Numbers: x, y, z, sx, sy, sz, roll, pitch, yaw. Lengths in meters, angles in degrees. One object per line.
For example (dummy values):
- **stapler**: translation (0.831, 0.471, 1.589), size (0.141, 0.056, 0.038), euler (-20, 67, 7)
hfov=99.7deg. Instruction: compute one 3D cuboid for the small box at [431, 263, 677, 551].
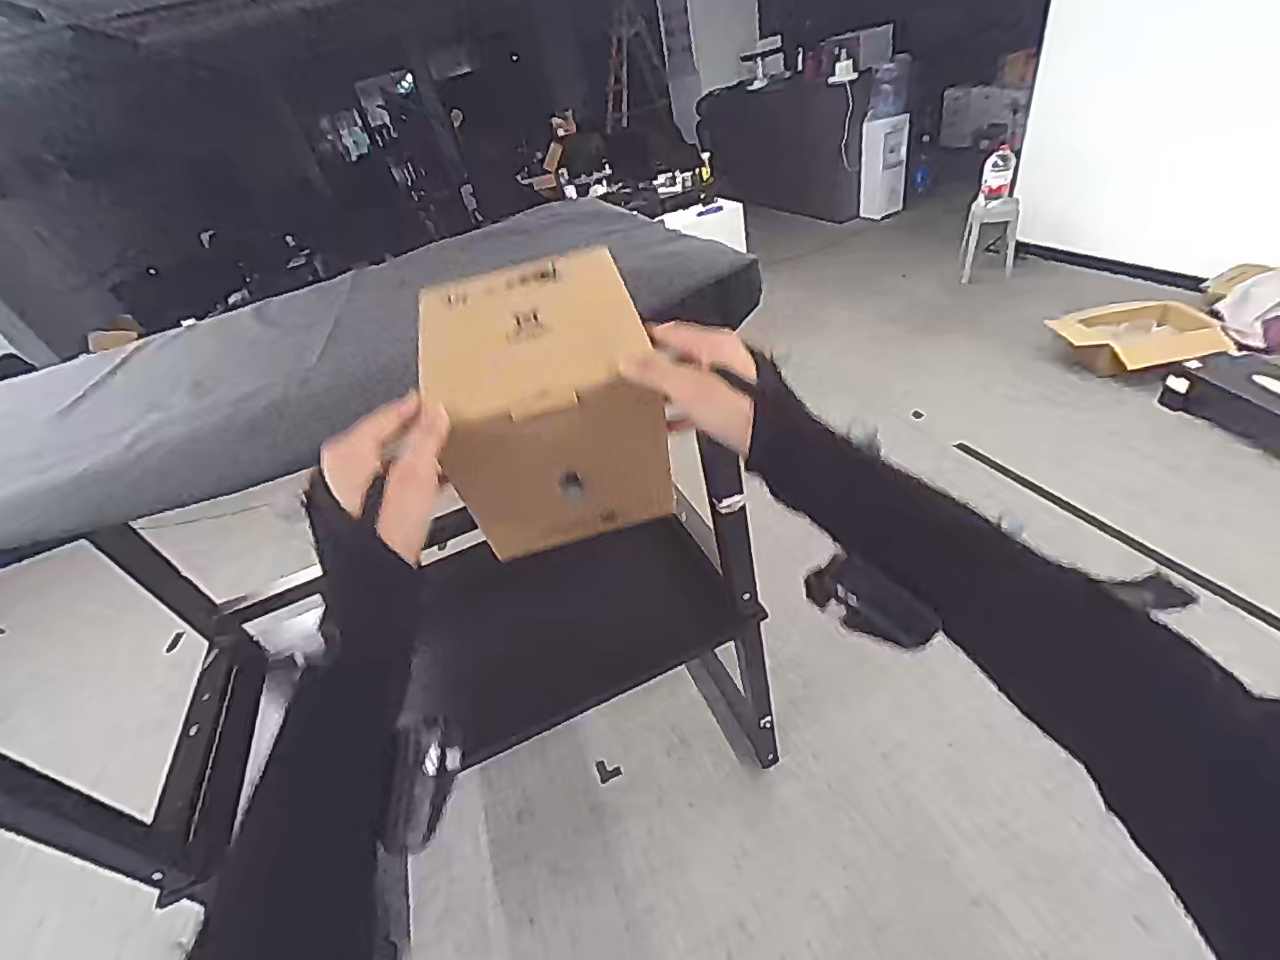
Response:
- **small box**: translation (-0.070, -0.055, 0.480), size (0.168, 0.176, 0.179), euler (-15, 52, -4)
